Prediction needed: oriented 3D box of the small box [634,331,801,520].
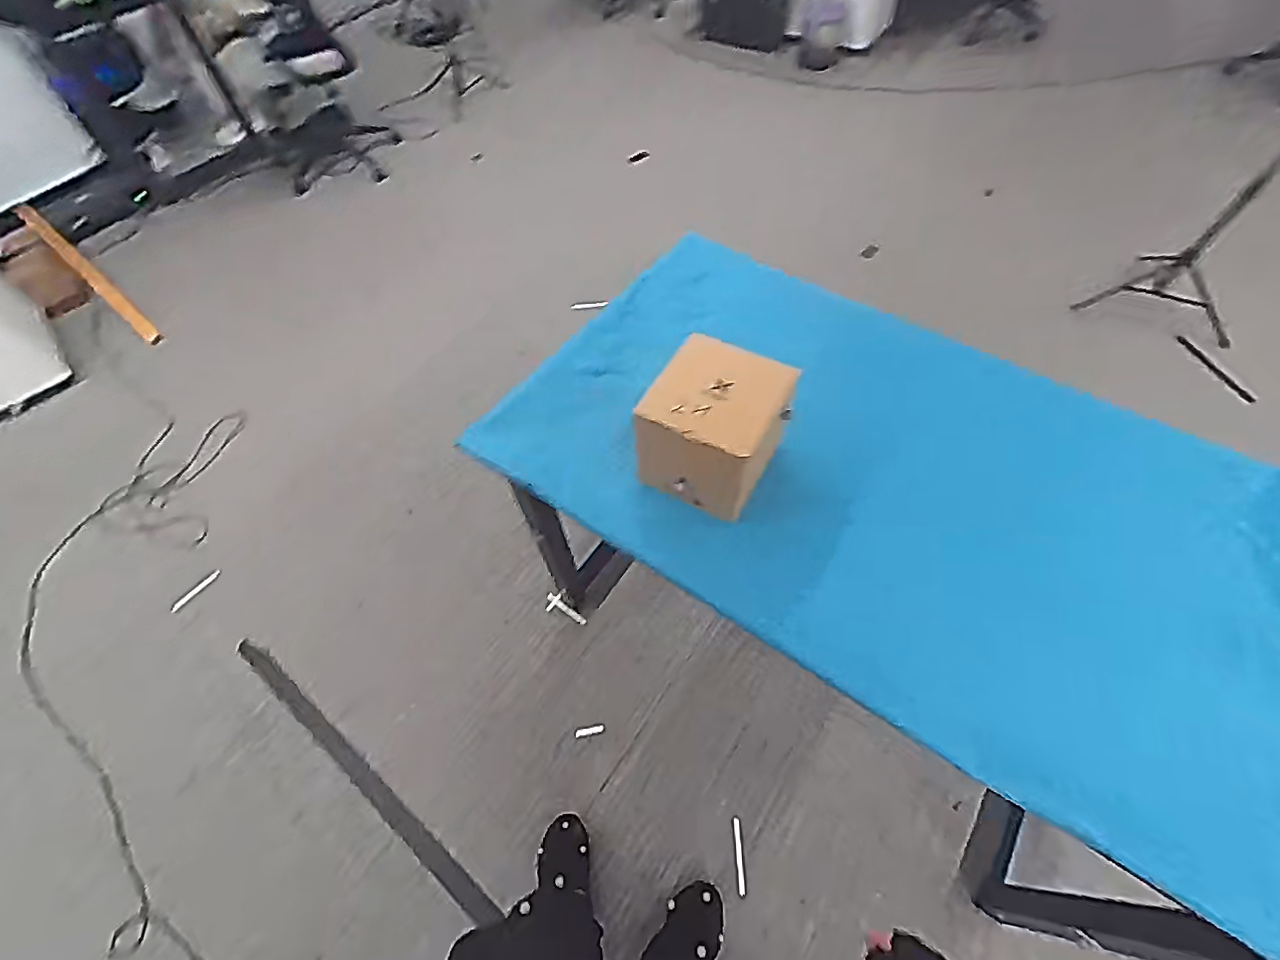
[{"bbox_3d":[0.109,-0.076,0.789,0.168,0.176,0.179,29,66,20],"label":"small box"}]
